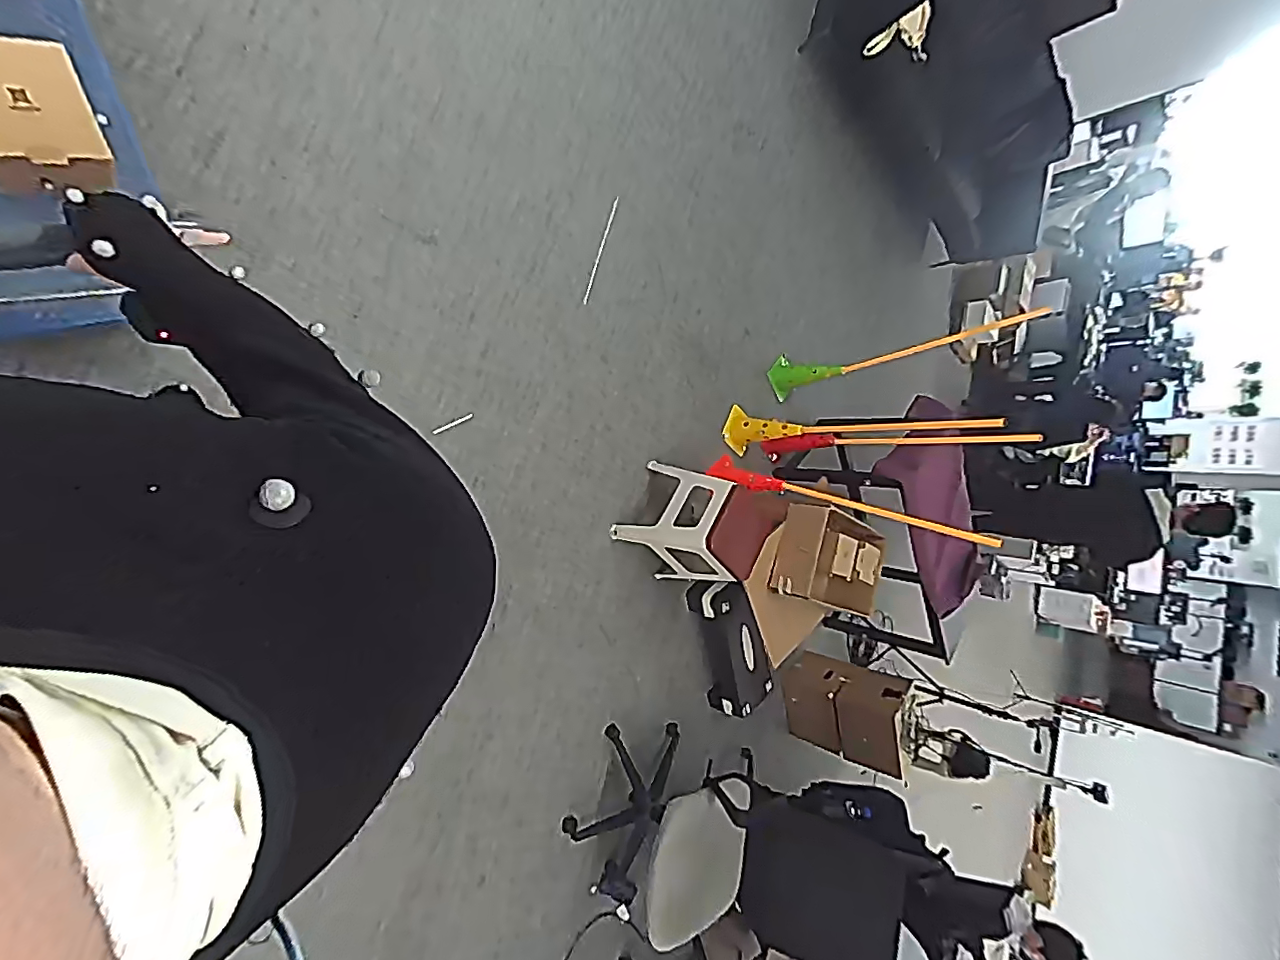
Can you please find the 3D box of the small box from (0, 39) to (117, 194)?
[{"bbox_3d":[-1.034,-0.607,0.916,0.168,0.176,0.179,-27,112,-38],"label":"small box"}]
